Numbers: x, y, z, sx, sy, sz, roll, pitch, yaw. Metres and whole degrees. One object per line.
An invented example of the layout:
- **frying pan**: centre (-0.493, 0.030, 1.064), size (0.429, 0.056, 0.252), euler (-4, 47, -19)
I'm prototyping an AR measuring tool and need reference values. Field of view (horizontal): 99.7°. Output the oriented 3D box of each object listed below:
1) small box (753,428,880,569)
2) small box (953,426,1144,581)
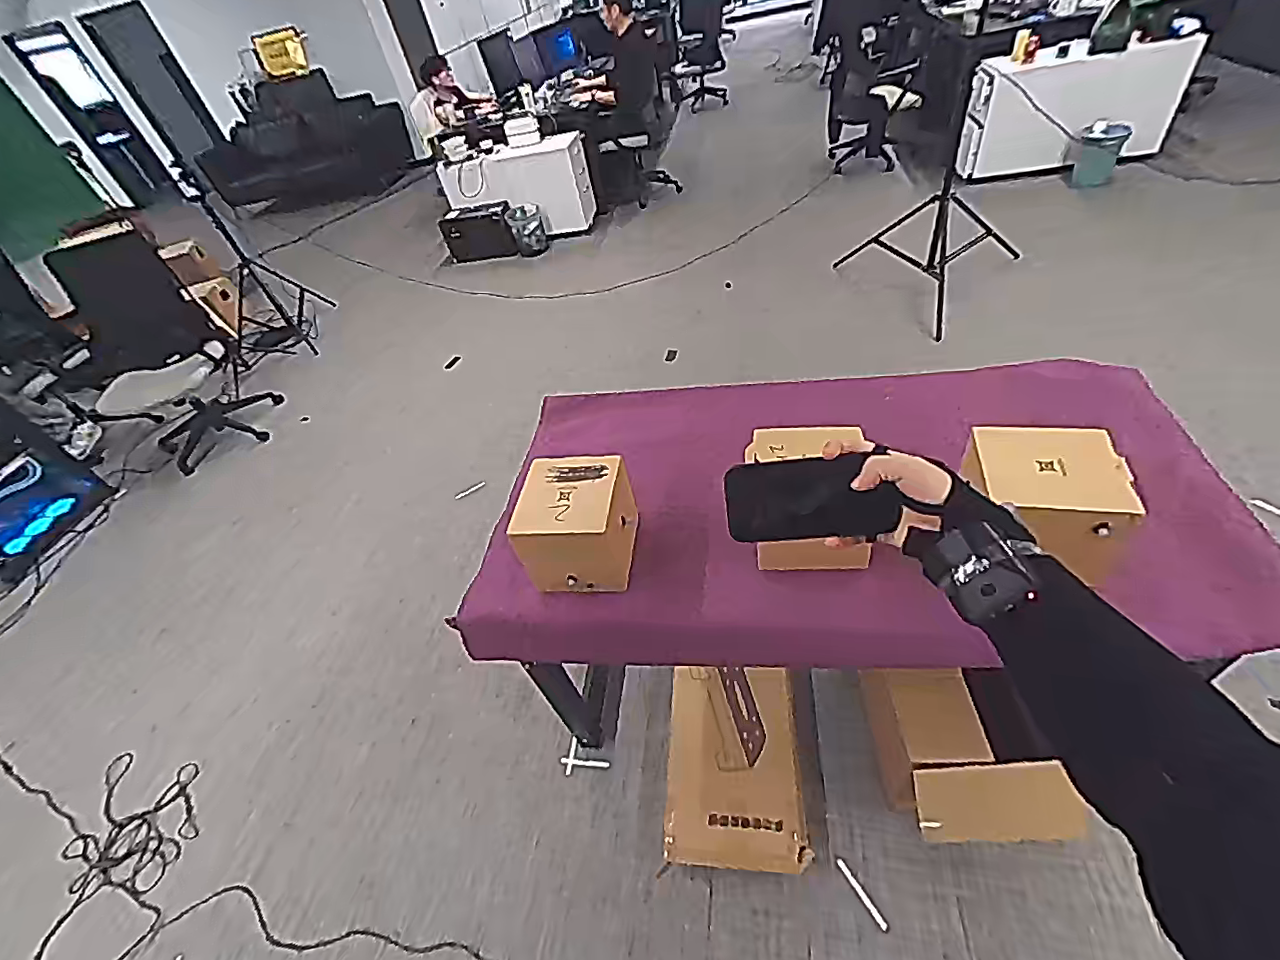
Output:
- **small box**: centre (0.279, 0.033, 0.893), size (0.179, 0.176, 0.168), euler (-3, 43, 12)
- **small box**: centre (0.587, 0.036, 0.812), size (0.179, 0.176, 0.168), euler (3, 47, 17)
